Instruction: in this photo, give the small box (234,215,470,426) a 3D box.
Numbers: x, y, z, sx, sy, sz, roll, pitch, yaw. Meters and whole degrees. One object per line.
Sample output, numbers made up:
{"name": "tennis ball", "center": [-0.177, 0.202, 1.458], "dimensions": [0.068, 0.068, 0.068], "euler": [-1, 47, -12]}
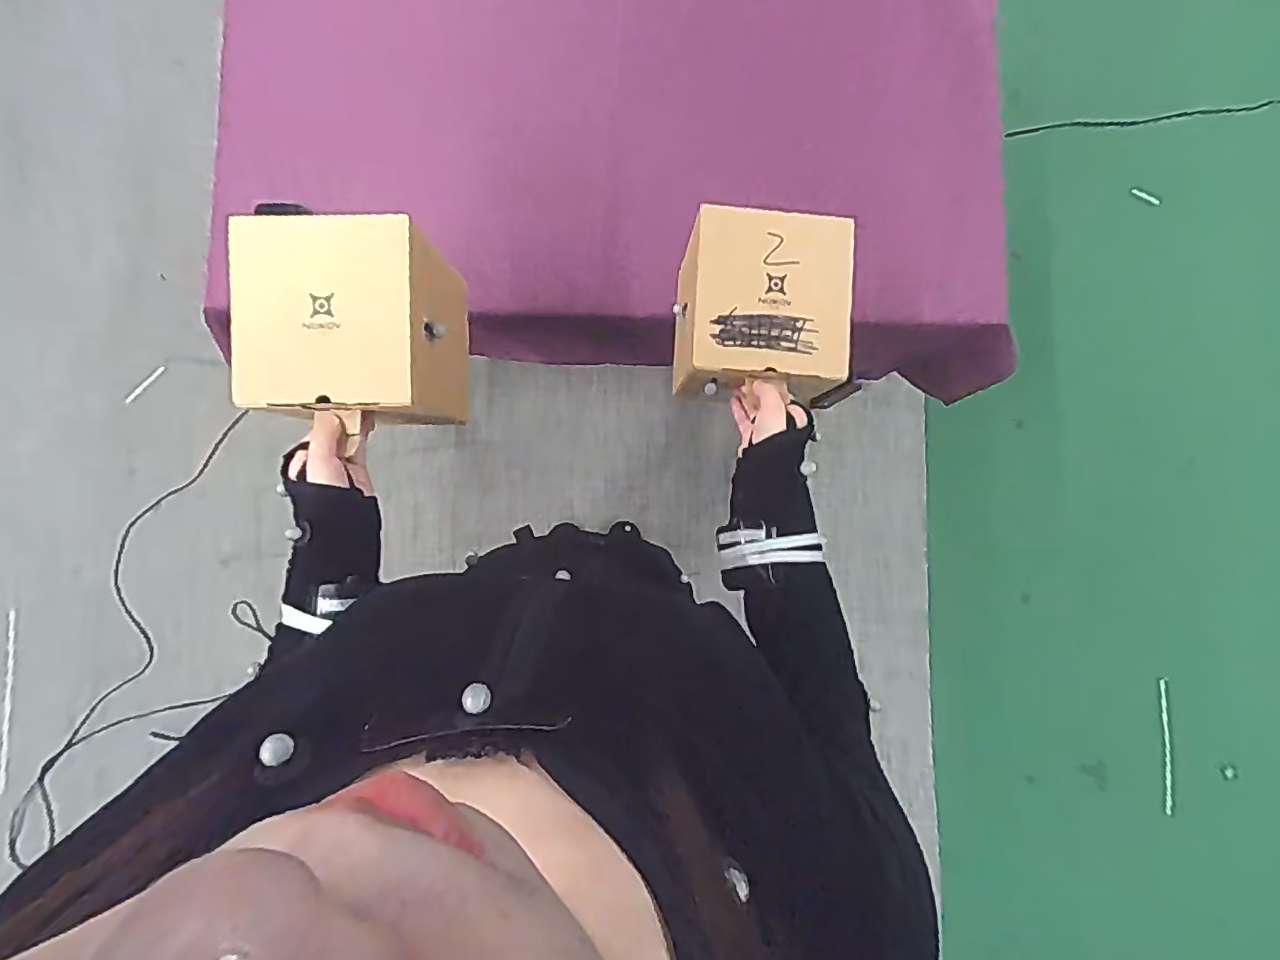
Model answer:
{"name": "small box", "center": [-0.286, -0.153, 0.571], "dimensions": [0.168, 0.176, 0.179], "euler": [0, 92, -1]}
